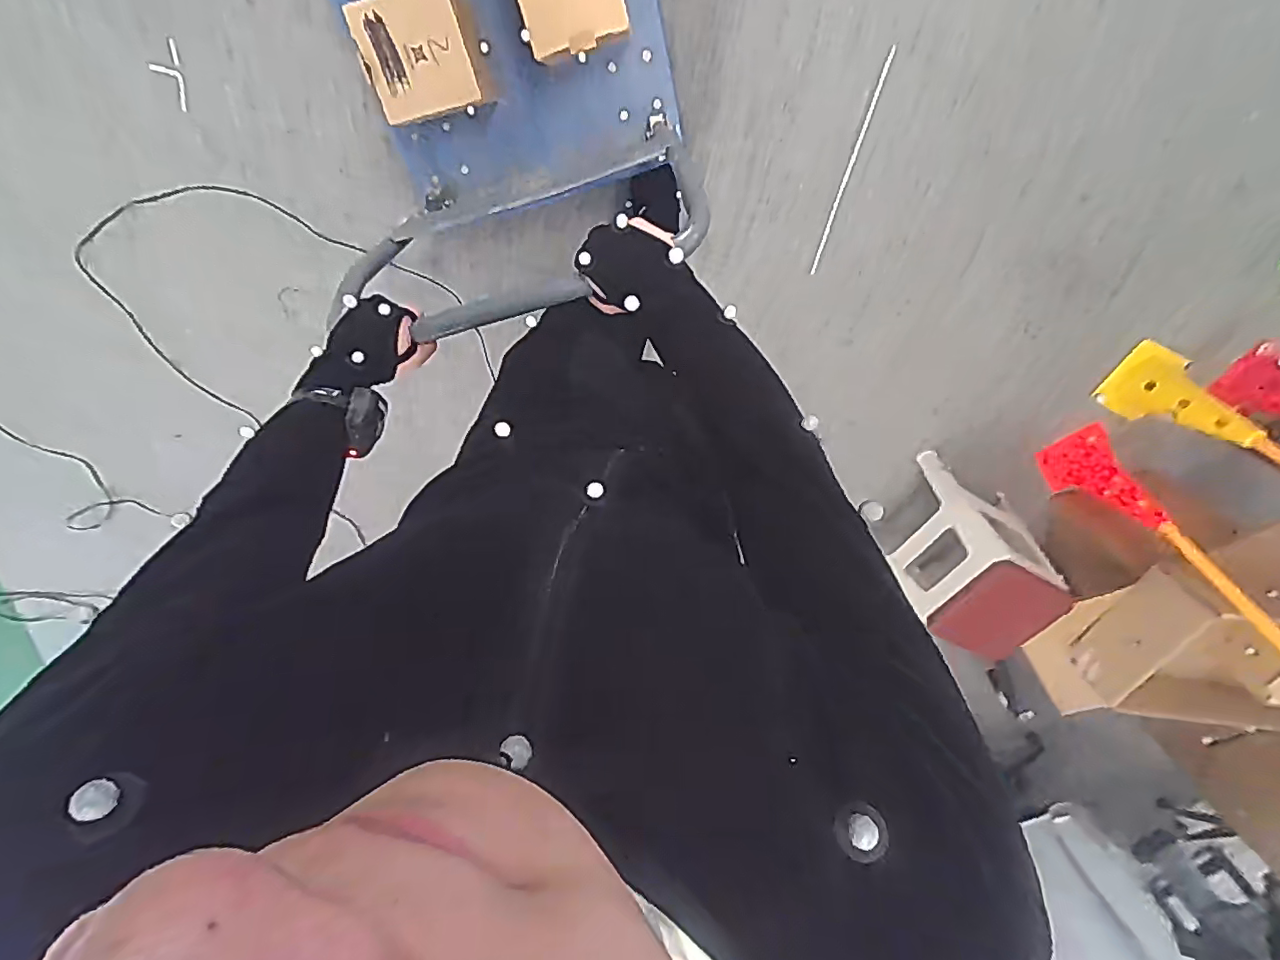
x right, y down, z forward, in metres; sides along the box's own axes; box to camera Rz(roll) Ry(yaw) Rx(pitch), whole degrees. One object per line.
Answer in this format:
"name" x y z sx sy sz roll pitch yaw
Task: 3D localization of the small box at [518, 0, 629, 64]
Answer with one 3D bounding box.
"small box" -0.121 -0.833 0.911 0.168 0.176 0.179 -13 125 8
